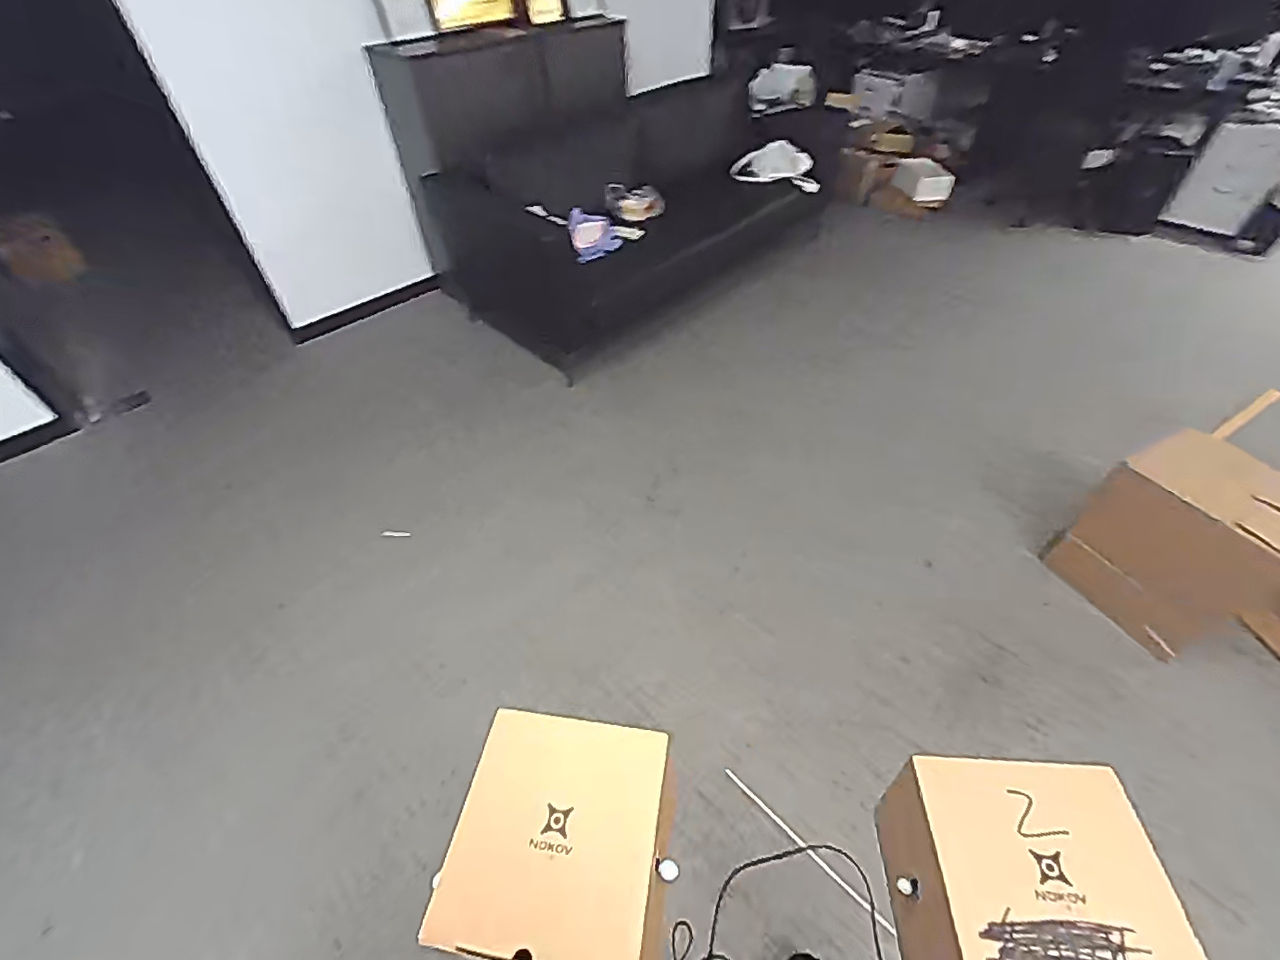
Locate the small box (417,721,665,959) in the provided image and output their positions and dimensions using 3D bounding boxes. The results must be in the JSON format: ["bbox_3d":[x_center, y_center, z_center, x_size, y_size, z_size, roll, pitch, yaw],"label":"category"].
[{"bbox_3d":[-0.068,0.352,0.501,0.168,0.176,0.179,3,46,10],"label":"small box"}]
